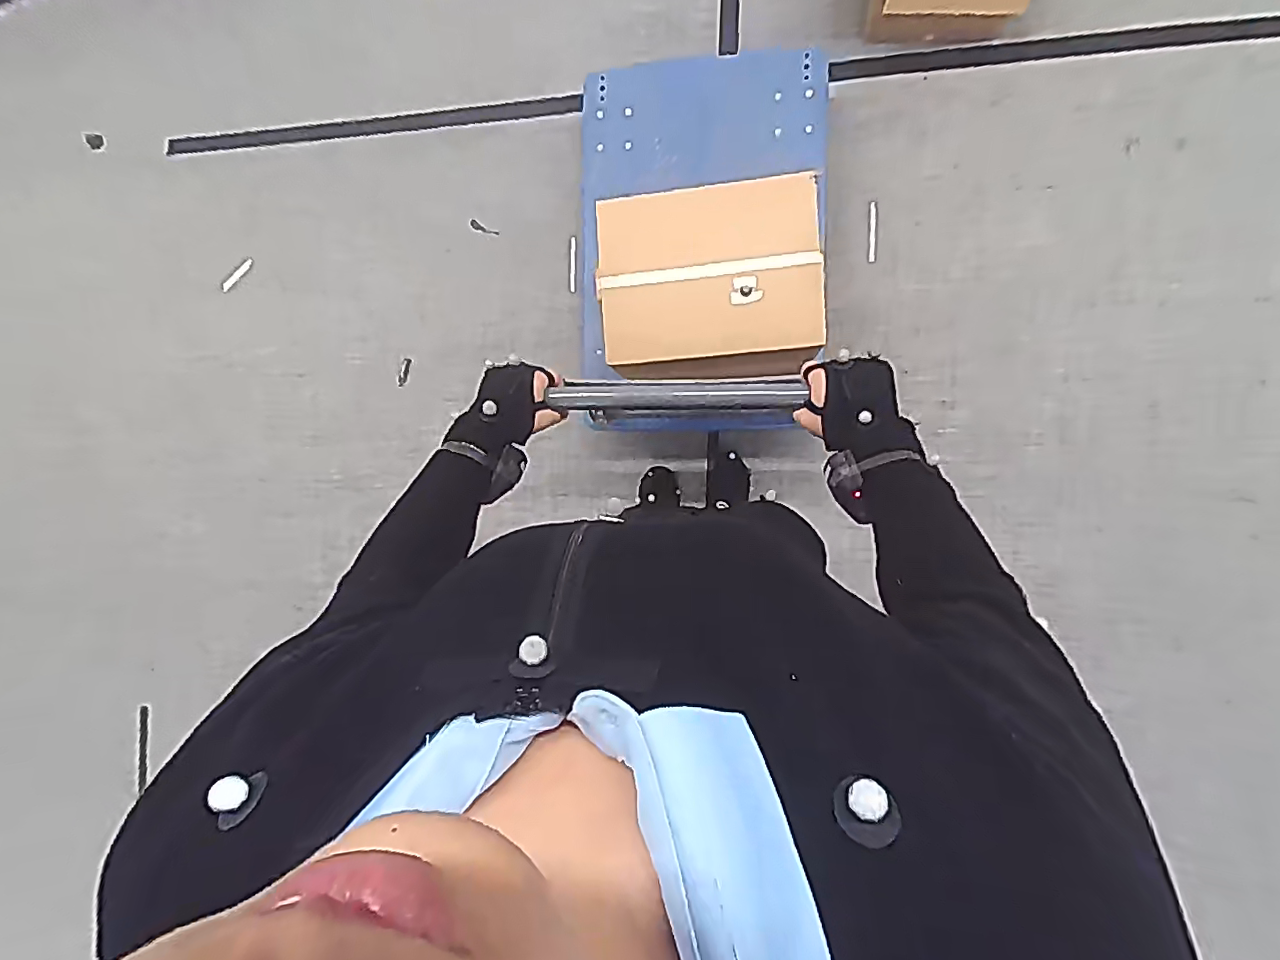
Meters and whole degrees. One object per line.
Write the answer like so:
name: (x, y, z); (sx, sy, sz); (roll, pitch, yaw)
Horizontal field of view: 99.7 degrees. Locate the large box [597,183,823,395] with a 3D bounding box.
large box: (0.143, -0.373, 1.152); (0.408, 0.320, 0.320); (-4, 91, 7)
